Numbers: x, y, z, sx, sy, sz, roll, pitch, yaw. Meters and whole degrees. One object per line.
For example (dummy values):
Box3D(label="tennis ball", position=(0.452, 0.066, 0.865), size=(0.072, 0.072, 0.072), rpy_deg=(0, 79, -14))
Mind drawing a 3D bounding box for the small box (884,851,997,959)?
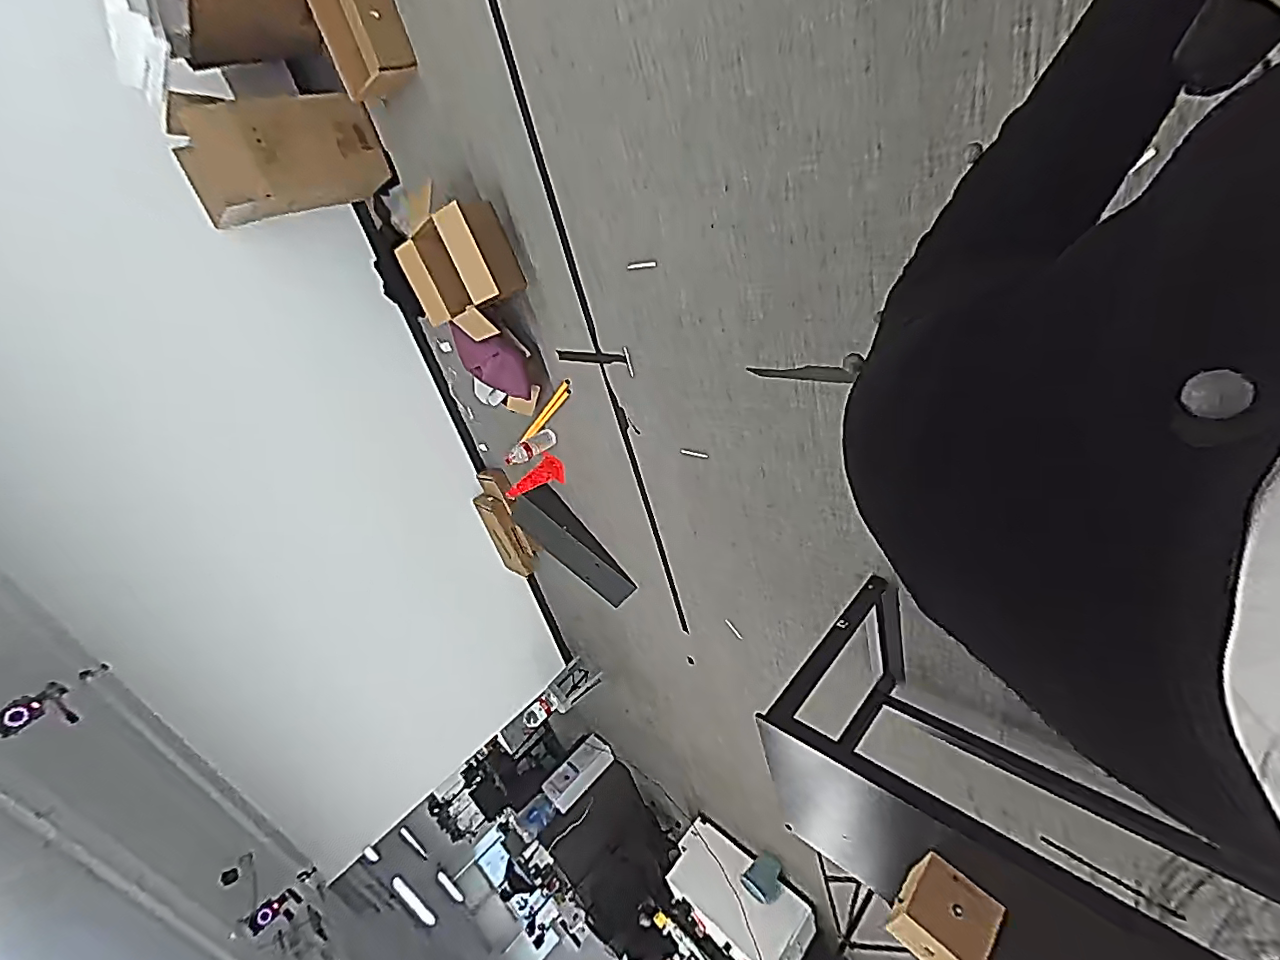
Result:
Box3D(label="small box", position=(0.719, 1.034, 1.292), size=(0.168, 0.176, 0.179), rpy_deg=(32, 143, 32))
